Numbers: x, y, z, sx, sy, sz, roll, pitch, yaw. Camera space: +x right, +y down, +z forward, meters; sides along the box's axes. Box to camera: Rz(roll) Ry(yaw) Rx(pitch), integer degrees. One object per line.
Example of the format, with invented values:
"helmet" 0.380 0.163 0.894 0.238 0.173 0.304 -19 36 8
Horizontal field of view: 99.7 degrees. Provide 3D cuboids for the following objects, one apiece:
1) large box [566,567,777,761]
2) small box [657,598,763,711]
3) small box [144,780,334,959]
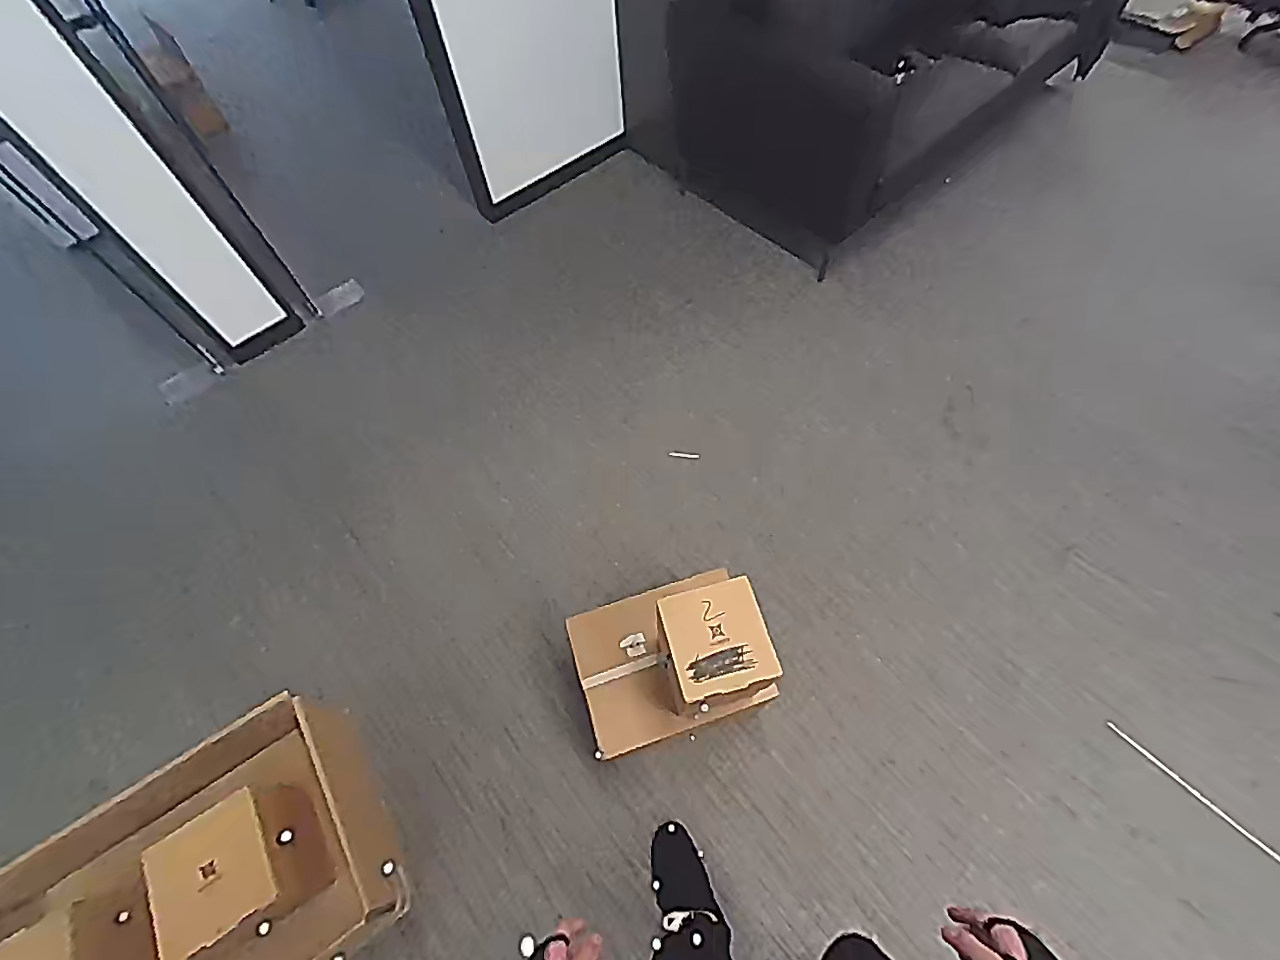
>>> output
"large box" 0.070 0.463 1.339 0.408 0.320 0.320 -18 61 -6
"small box" 0.137 0.364 1.109 0.168 0.176 0.179 -14 62 -5
"small box" -0.640 0.621 0.879 0.168 0.176 0.179 -31 66 -14
